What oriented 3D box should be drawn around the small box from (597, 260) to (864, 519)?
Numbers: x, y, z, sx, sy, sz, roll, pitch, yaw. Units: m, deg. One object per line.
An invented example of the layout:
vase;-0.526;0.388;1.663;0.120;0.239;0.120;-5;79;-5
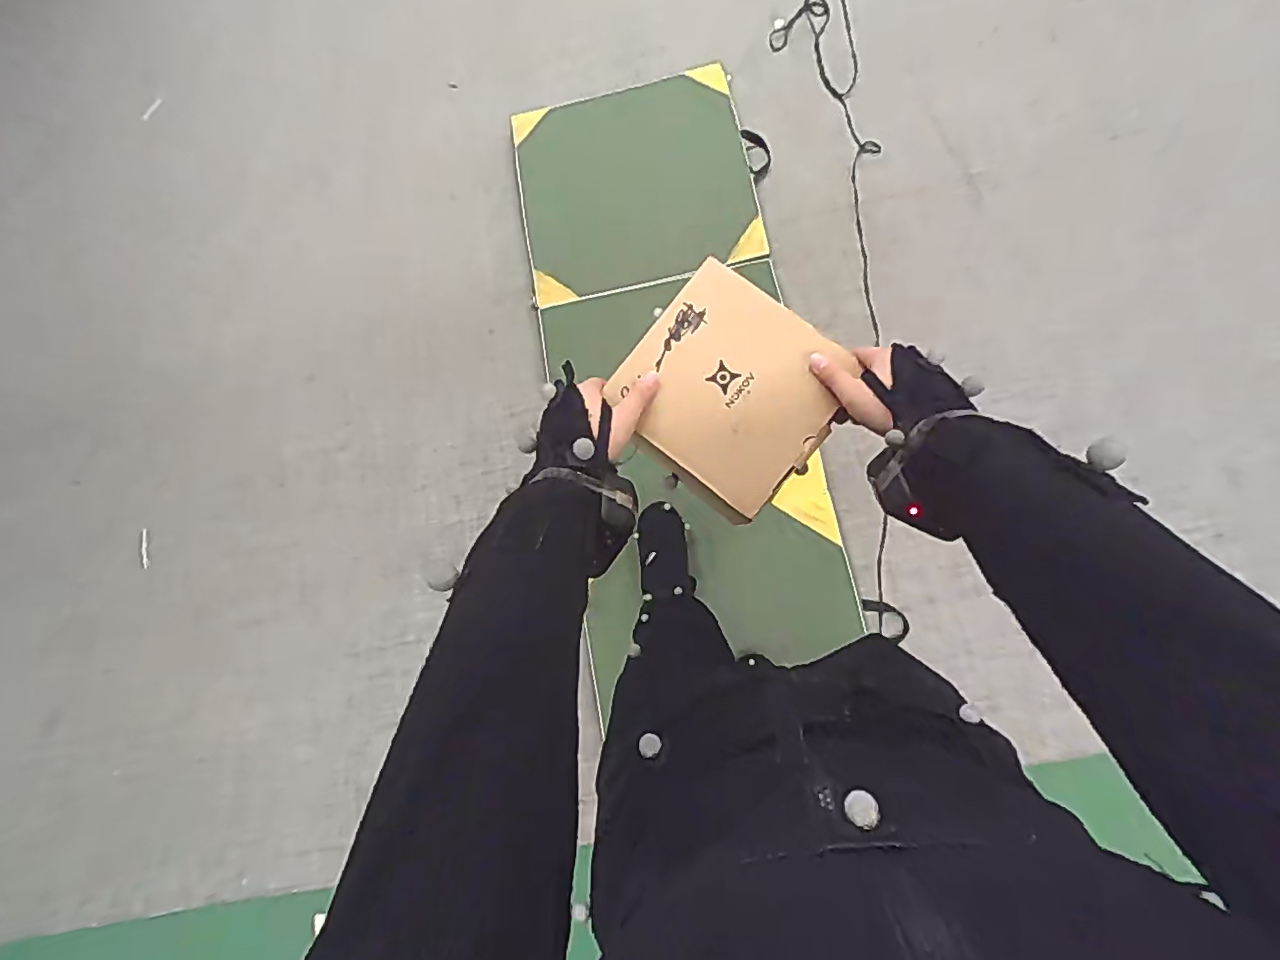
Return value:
small box;0.085;-0.076;0.550;0.179;0.176;0.168;39;89;8
